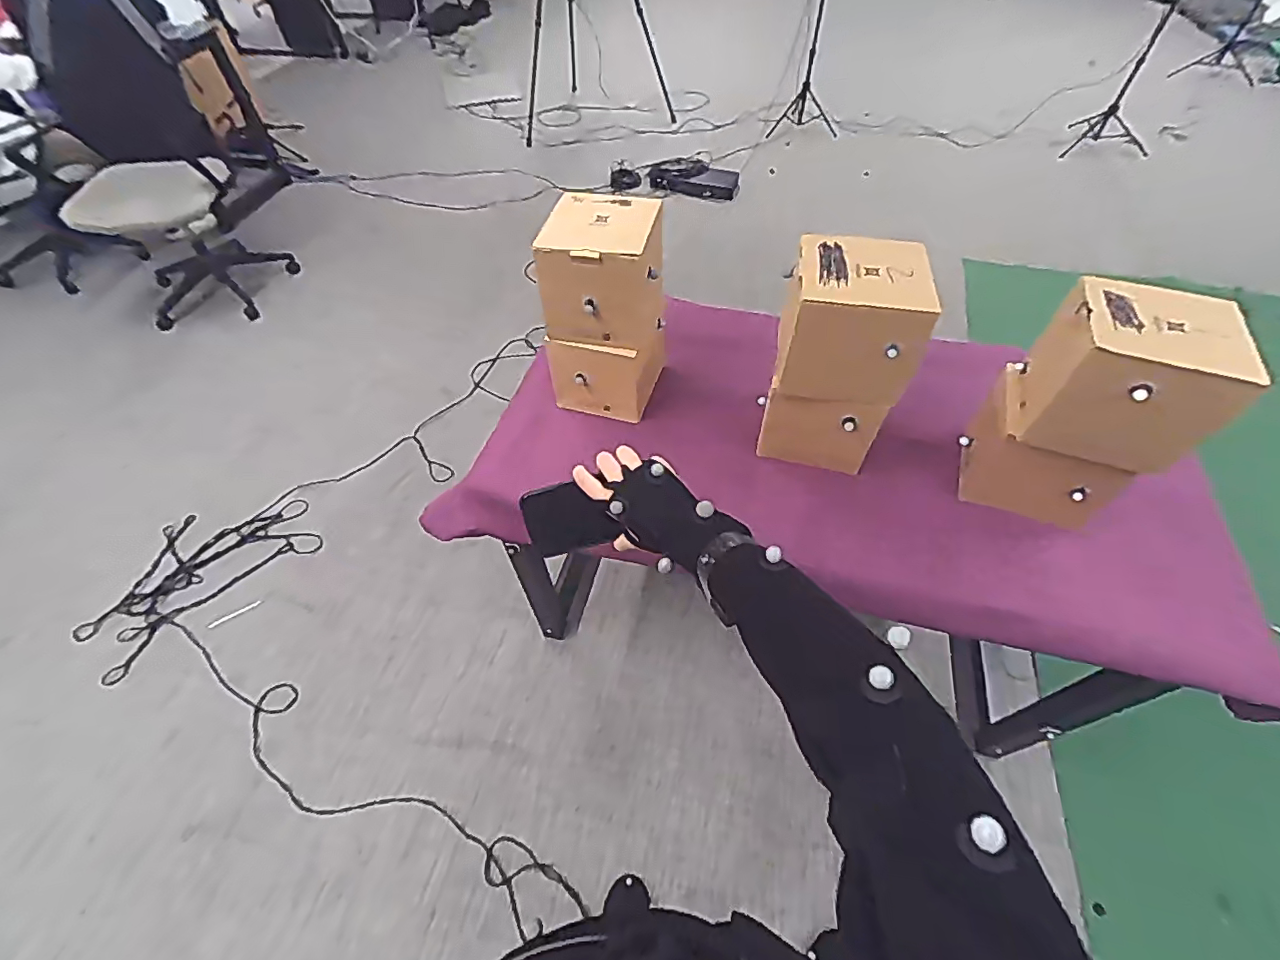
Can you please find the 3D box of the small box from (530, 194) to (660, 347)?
[{"bbox_3d":[-0.061,-0.340,0.886,0.168,0.176,0.179,9,54,8],"label":"small box"}]

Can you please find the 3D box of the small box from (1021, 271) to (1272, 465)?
[{"bbox_3d":[0.632,-0.143,0.709,0.179,0.176,0.168,17,54,14],"label":"small box"}]

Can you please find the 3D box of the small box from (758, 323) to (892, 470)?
[{"bbox_3d":[0.310,-0.138,0.922,0.179,0.176,0.168,12,54,11],"label":"small box"}]

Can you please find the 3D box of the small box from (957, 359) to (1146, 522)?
[{"bbox_3d":[0.632,-0.057,0.849,0.179,0.176,0.168,17,55,15],"label":"small box"}]

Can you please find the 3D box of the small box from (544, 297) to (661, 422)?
[{"bbox_3d":[-0.059,-0.233,1.011,0.168,0.176,0.179,12,54,12],"label":"small box"}]
